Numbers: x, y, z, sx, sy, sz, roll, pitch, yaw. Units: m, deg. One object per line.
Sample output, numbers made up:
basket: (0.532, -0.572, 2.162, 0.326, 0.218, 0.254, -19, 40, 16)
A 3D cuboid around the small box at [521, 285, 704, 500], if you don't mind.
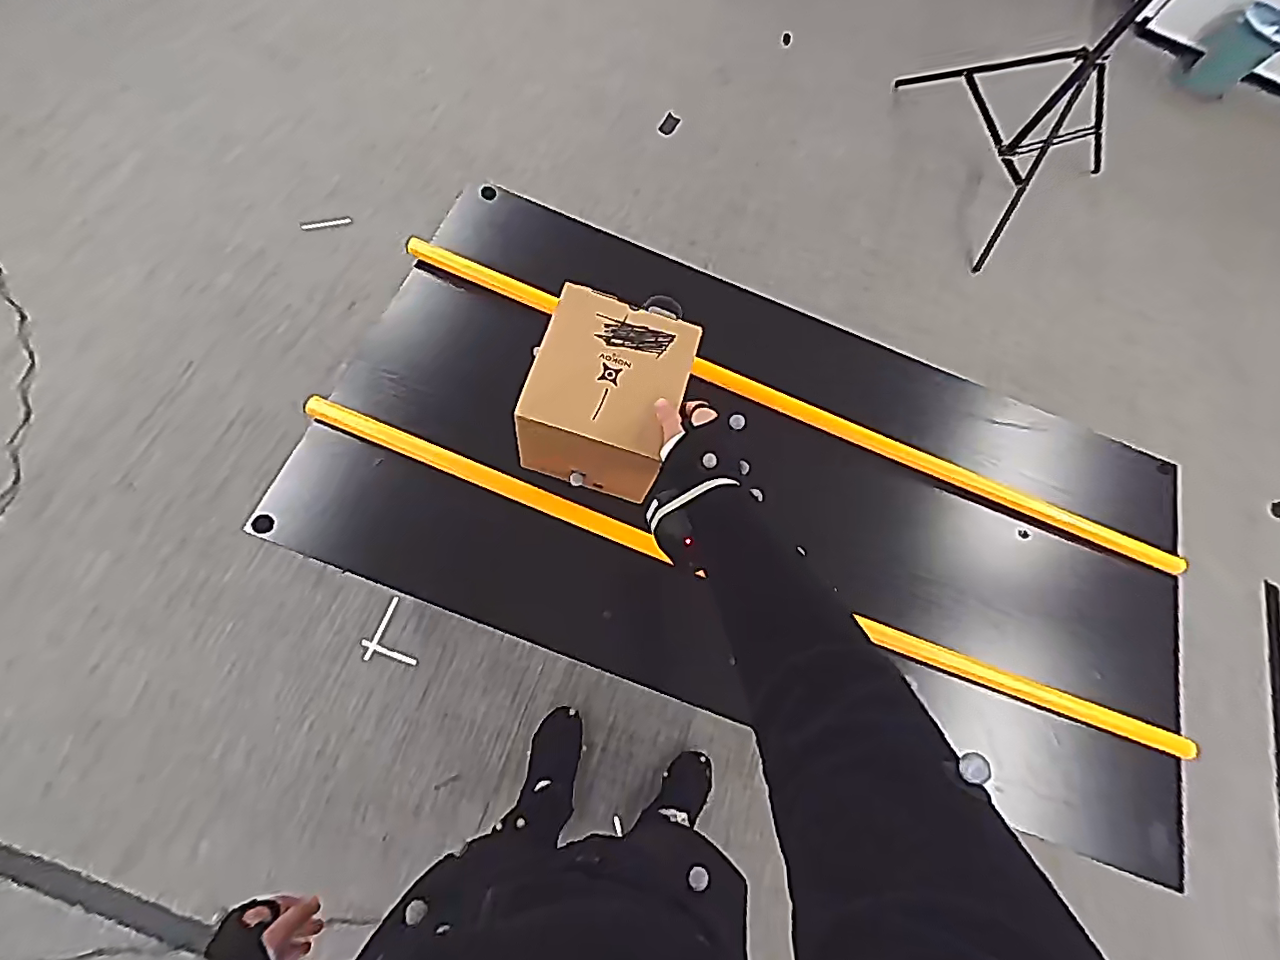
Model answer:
small box: (-0.037, -0.096, 0.666, 0.168, 0.176, 0.179, 18, 71, -3)
